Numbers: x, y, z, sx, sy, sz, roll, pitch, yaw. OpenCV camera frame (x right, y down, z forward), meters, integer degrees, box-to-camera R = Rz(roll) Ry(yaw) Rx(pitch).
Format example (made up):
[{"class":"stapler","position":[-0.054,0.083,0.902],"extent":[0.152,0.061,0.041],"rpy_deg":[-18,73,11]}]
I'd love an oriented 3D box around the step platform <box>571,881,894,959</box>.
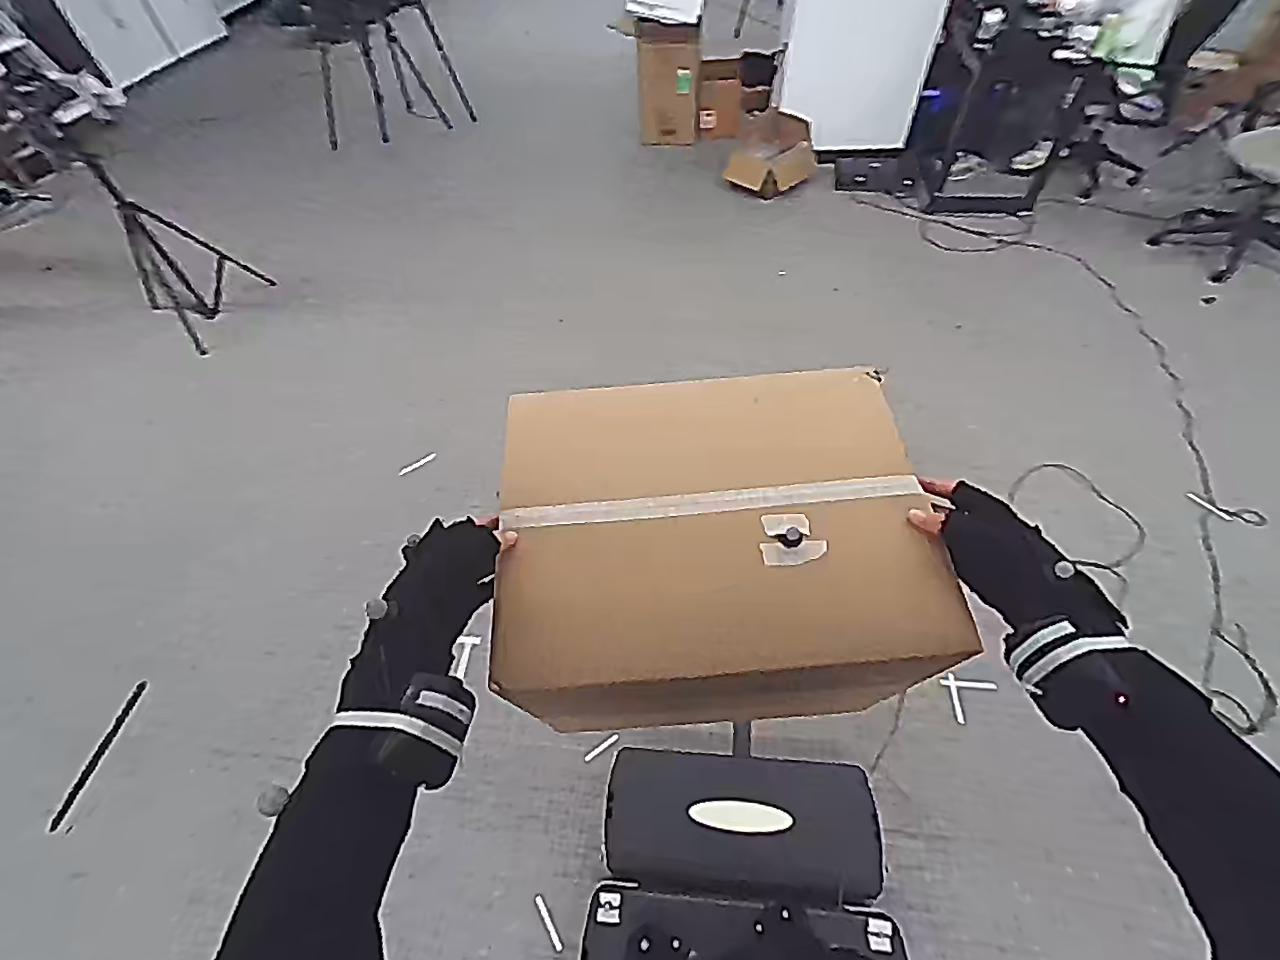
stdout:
[{"class":"step platform","position":[0.191,1.057,1.153],"extent":[0.684,0.204,0.286],"rpy_deg":[0,53,6]}]

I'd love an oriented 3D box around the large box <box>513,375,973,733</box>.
[{"class":"large box","position":[0.080,0.106,0.659],"extent":[0.408,0.320,0.320],"rpy_deg":[-5,59,0]}]
